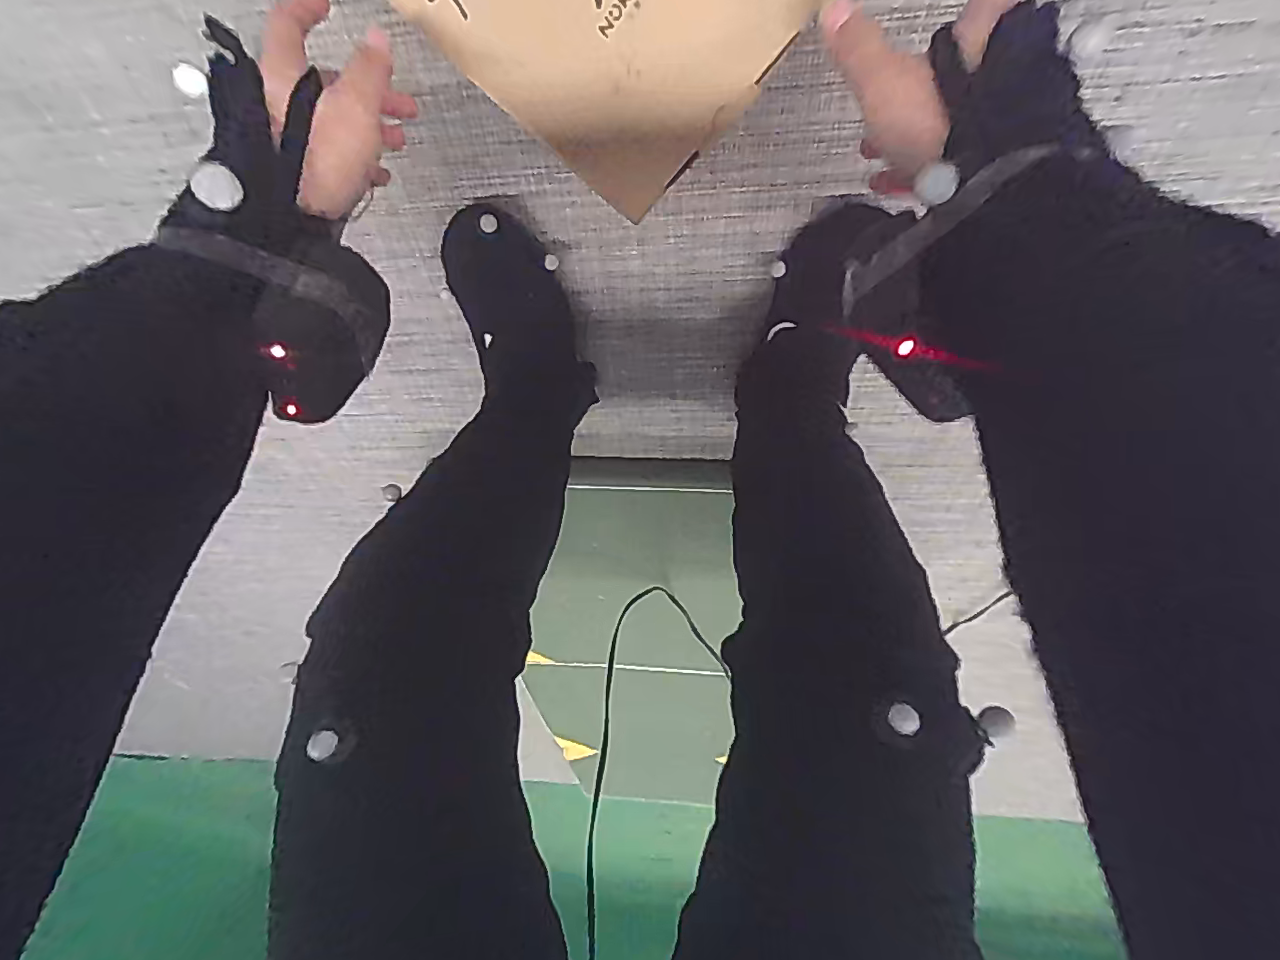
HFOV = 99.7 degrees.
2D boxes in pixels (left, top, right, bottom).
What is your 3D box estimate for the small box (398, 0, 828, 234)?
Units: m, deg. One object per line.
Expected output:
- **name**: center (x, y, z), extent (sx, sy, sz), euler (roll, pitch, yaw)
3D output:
- **small box**: center (-0.010, -0.306, 0.341), extent (0.179, 0.176, 0.168), euler (33, 131, -26)
